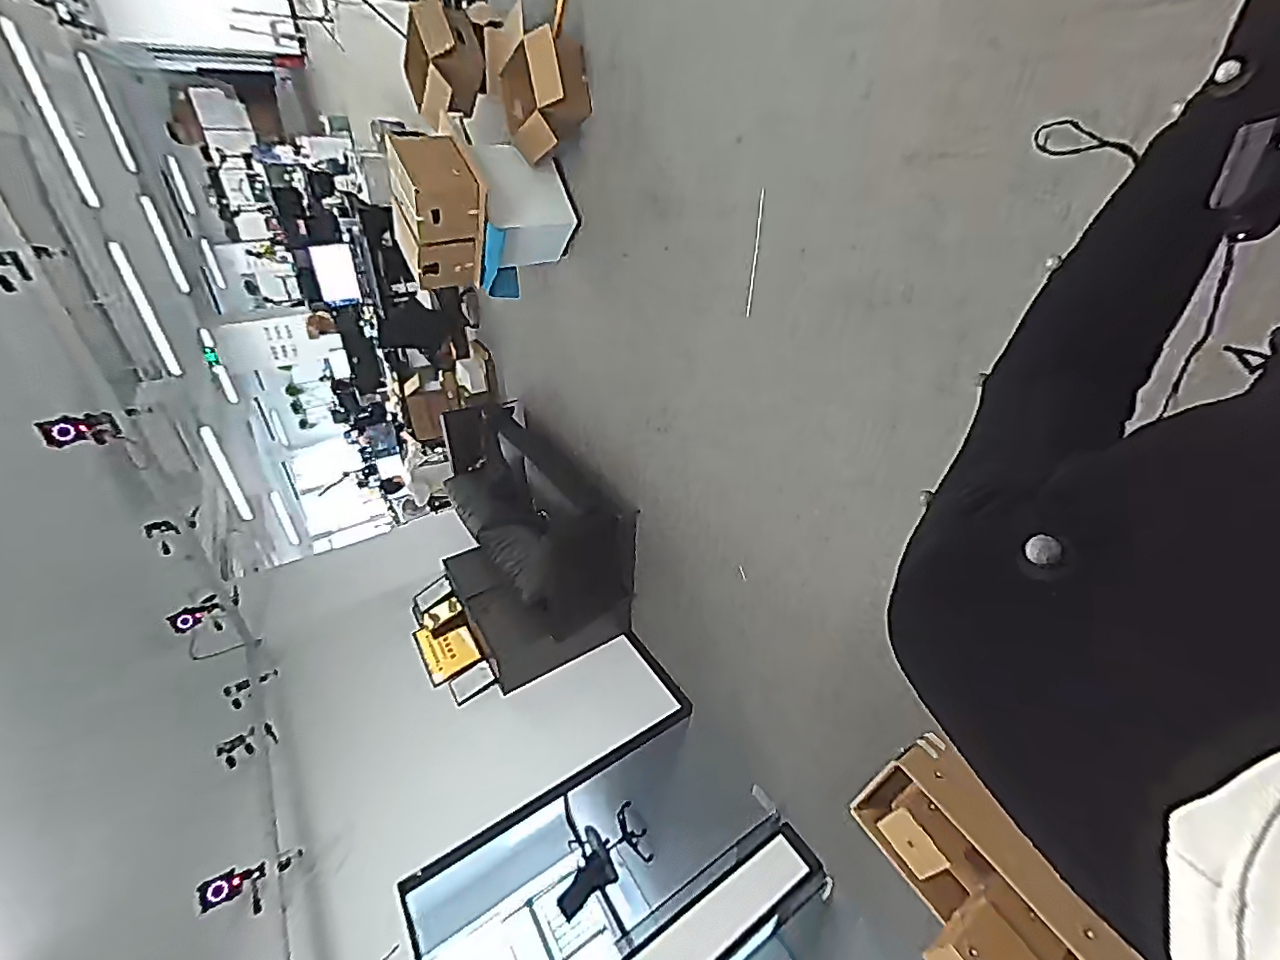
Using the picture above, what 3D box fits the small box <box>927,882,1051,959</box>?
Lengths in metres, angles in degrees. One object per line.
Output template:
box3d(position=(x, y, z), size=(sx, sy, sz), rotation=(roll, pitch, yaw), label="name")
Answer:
box3d(position=(0.883, 1.175, 1.370), size=(0.179, 0.176, 0.168), rotation=(49, 146, 37), label="small box")

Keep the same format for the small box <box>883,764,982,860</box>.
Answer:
box3d(position=(0.876, 0.987, 1.614), size=(0.168, 0.176, 0.179), rotation=(51, 147, 34), label="small box")
